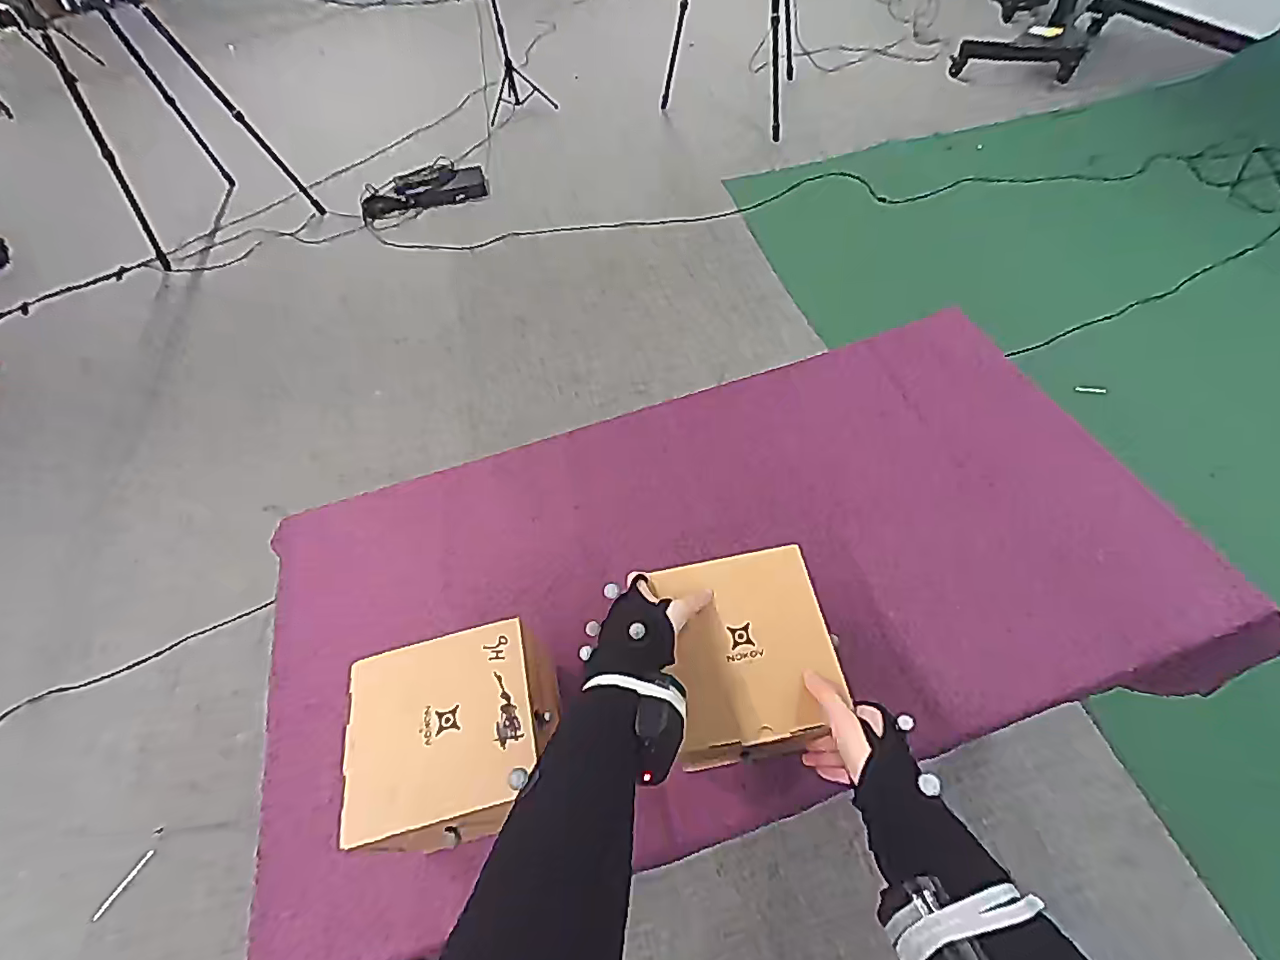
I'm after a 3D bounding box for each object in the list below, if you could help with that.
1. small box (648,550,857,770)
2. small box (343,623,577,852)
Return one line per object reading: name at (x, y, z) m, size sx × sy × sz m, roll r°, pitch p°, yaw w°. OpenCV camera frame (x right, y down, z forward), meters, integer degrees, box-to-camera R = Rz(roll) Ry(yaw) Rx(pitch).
small box at (0.107, 0.200, 0.586) m, size 0.168 × 0.176 × 0.179 m, roll -11°, pitch 59°, yaw 1°
small box at (-0.178, 0.277, 0.571) m, size 0.179 × 0.176 × 0.168 m, roll -15°, pitch 55°, yaw -4°
